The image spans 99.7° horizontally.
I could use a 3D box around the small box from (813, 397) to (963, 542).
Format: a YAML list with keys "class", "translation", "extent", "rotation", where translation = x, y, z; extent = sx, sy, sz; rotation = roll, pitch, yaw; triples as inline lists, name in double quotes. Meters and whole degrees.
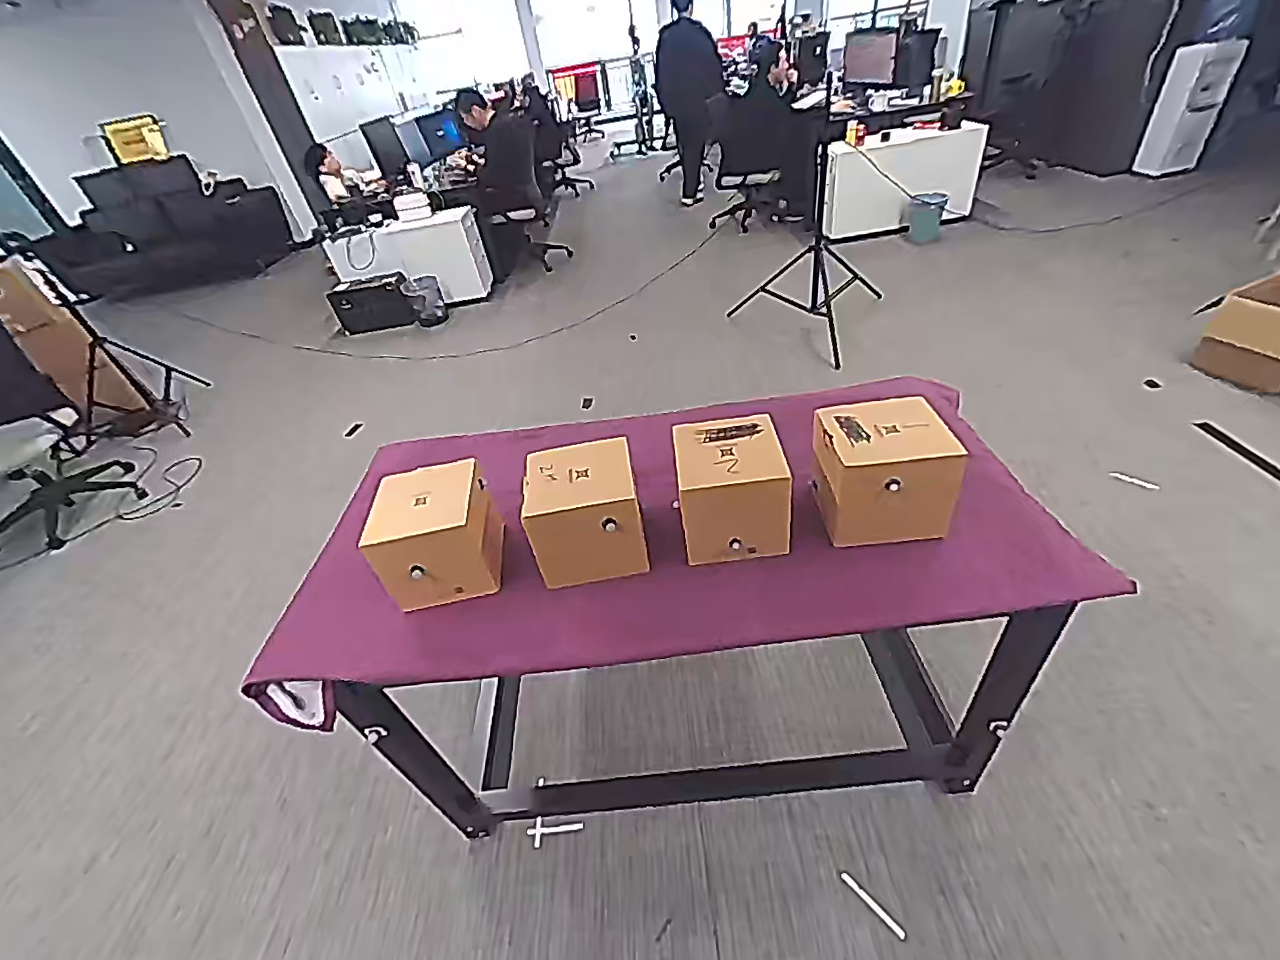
- class: "small box"
  translation: [0.387, -0.014, 0.882]
  extent: [0.179, 0.176, 0.168]
  rotation: [-6, 38, 5]

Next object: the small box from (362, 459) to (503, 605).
- class: "small box"
  translation: [-0.341, 0.094, 0.928]
  extent: [0.168, 0.176, 0.179]
  rotation: [-12, 38, -2]
